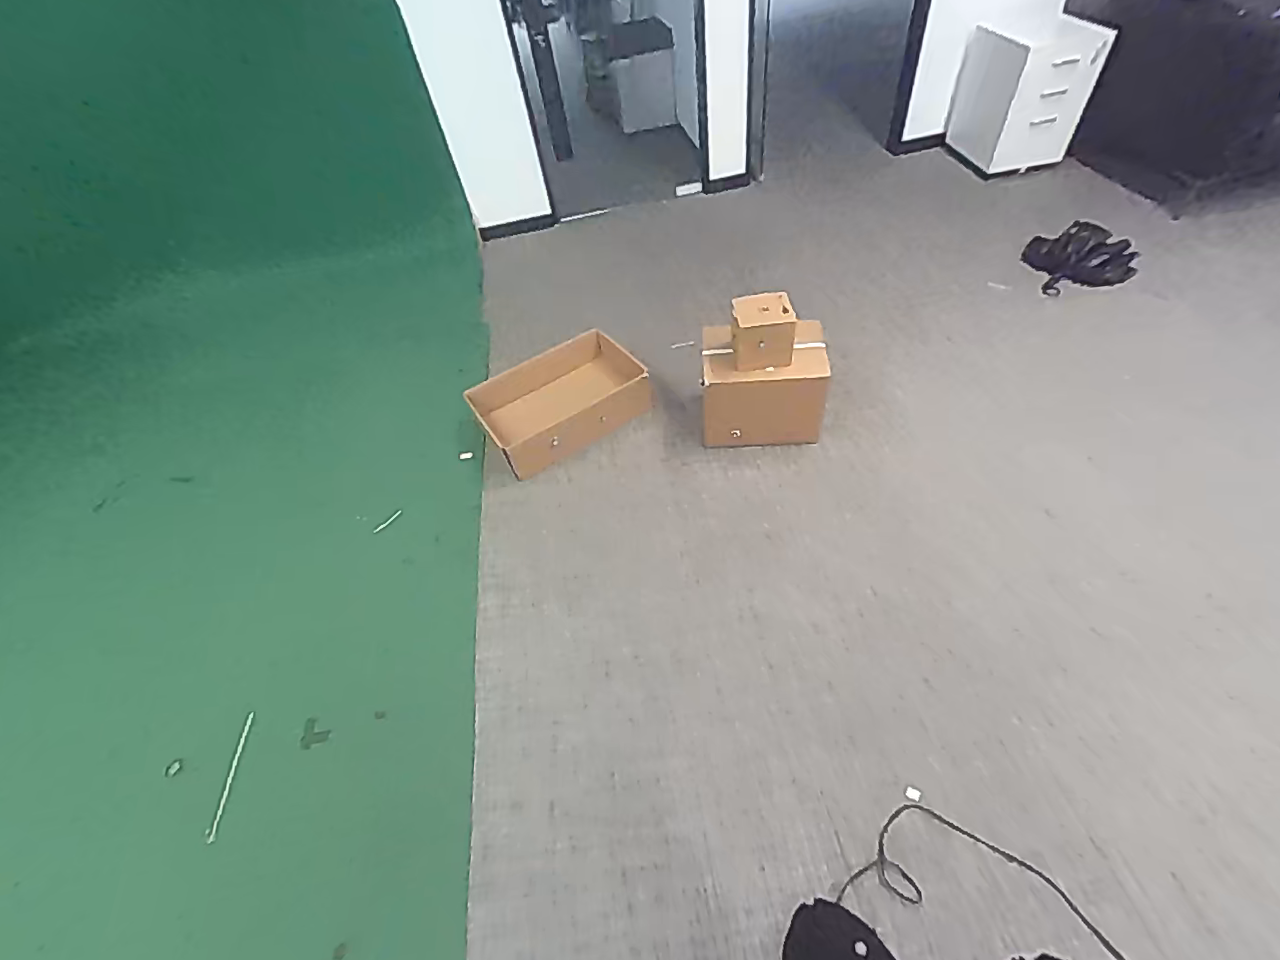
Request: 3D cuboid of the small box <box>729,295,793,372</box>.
[{"bbox_3d":[0.387,-0.466,1.741,0.179,0.176,0.168,-7,50,4],"label":"small box"}]
